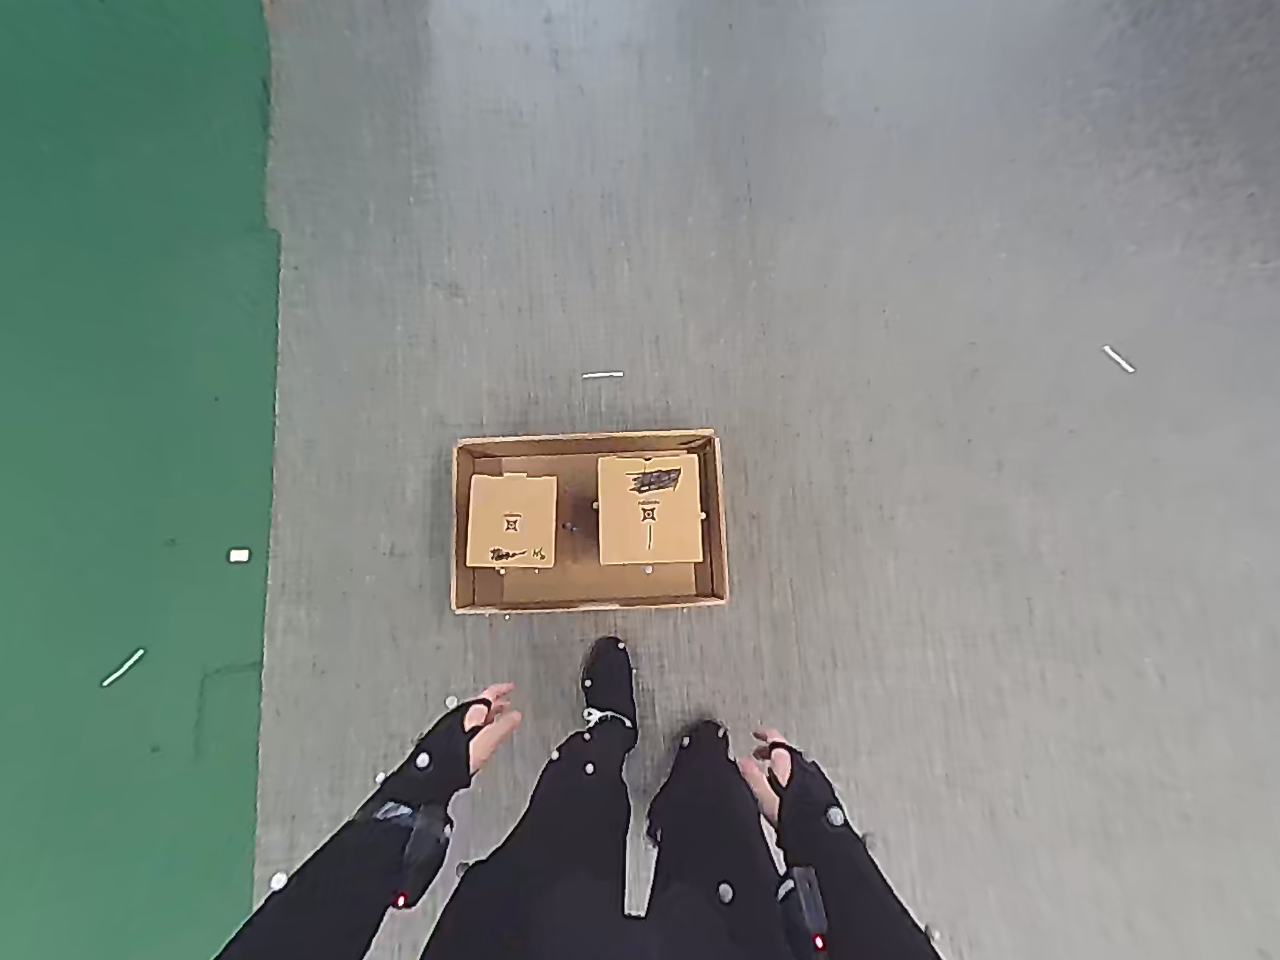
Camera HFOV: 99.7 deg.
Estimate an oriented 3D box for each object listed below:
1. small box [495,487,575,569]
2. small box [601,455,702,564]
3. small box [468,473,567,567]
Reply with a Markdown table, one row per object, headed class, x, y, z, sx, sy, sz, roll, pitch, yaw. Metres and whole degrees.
| class | x | y | z | sx | sy | sz | roll | pitch | yaw |
| --- | --- | --- | --- | --- | --- | --- | --- | --- | --- |
| small box | -0.243 | 0.114 | 1.272 | 0.168 | 0.176 | 0.179 | -3 | 82 | -3 |
| small box | 0.017 | 0.058 | 0.958 | 0.168 | 0.176 | 0.179 | -2 | 82 | 1 |
| small box | -0.243 | 0.087 | 1.110 | 0.168 | 0.176 | 0.179 | 2 | 81 | -1 |
